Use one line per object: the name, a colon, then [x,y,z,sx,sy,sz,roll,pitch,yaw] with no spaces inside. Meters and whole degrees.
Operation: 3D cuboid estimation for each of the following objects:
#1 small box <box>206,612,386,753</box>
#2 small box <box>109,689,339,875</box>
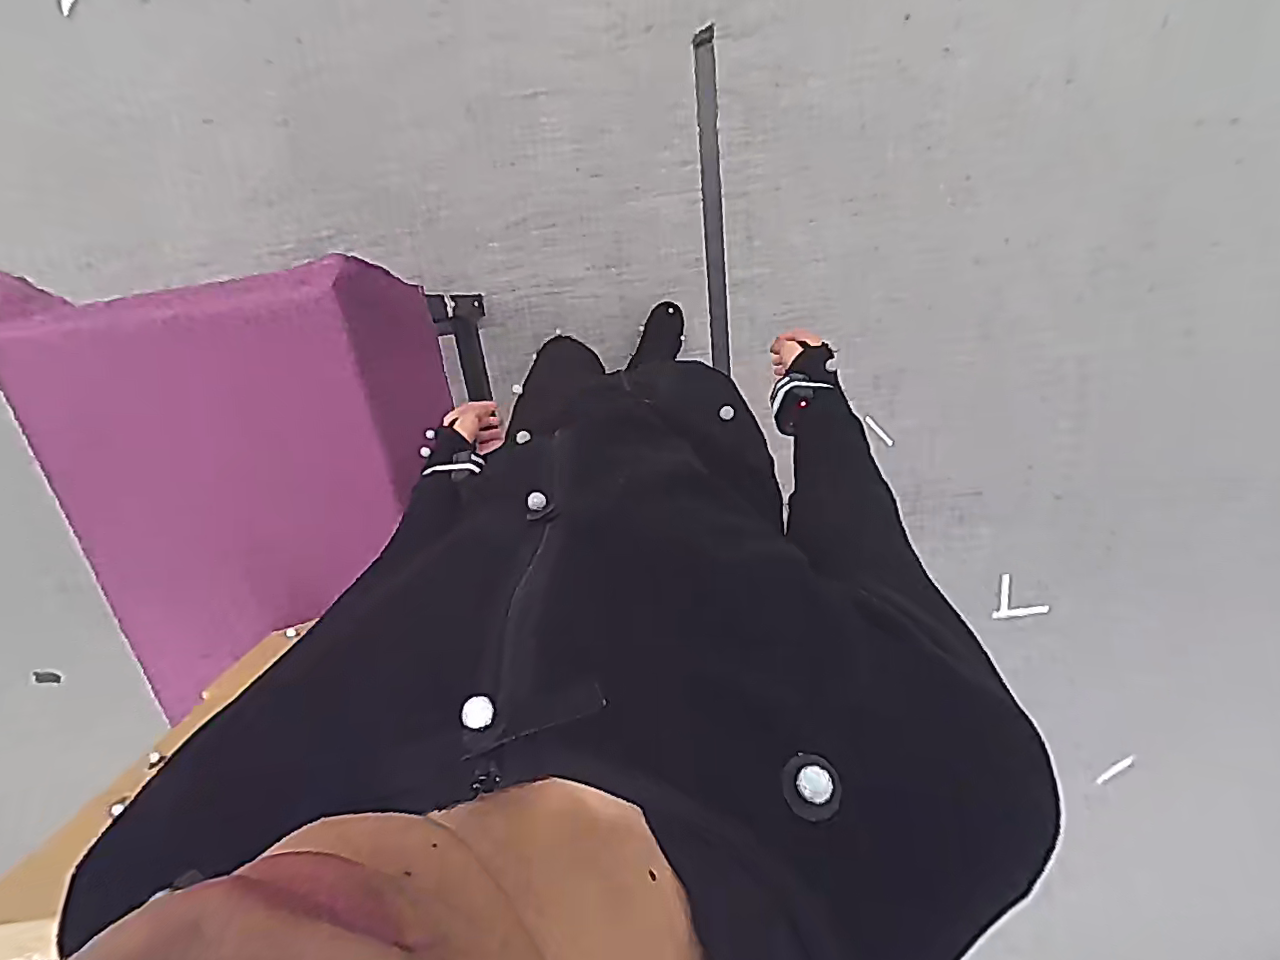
small box: [-0.585,0.363,0.949,0.168,0.176,0.179,-16,107,8]
small box: [-0.596,0.439,0.801,0.179,0.176,0.168,-11,109,6]
